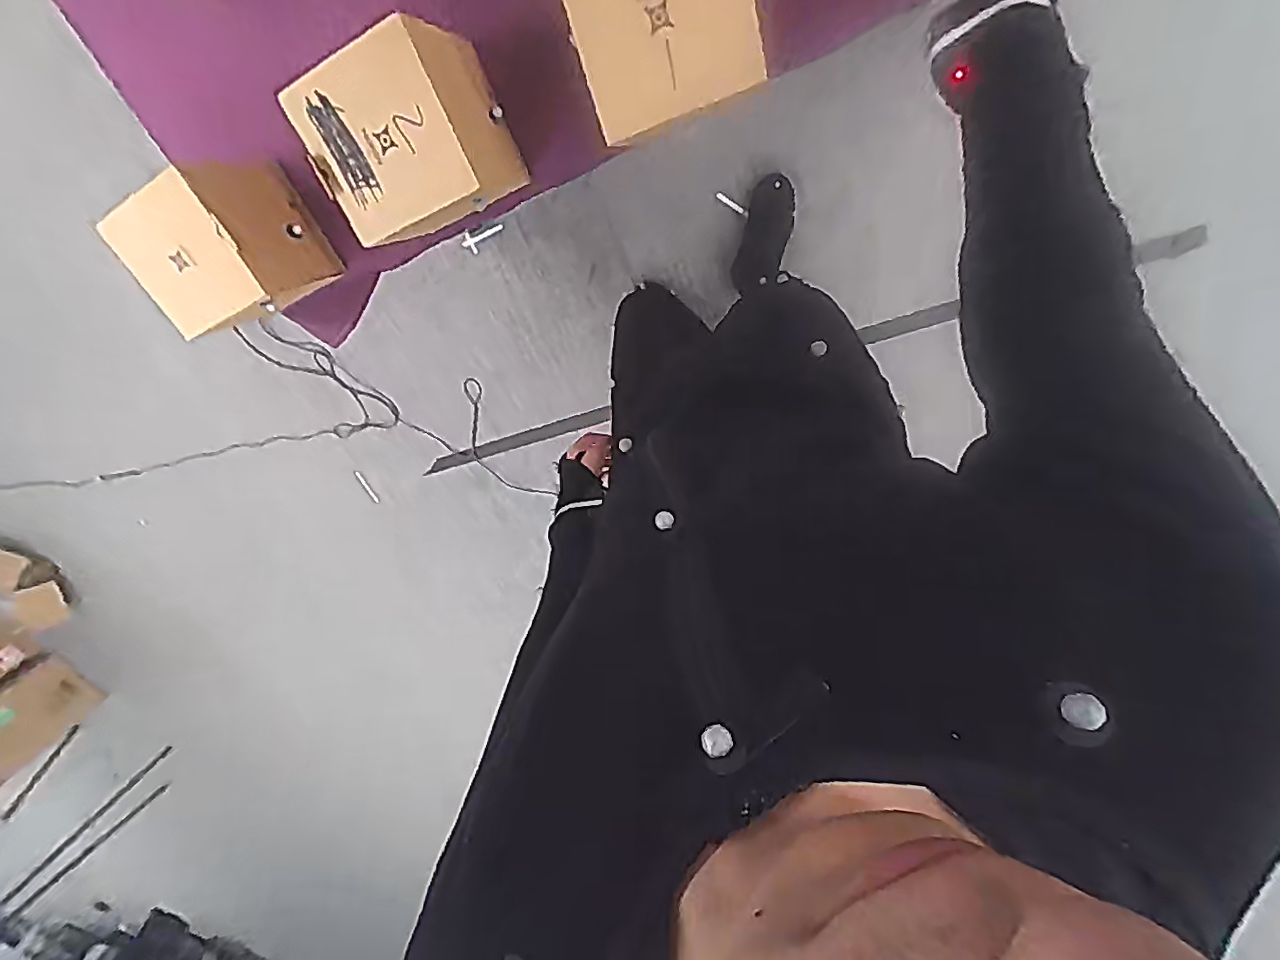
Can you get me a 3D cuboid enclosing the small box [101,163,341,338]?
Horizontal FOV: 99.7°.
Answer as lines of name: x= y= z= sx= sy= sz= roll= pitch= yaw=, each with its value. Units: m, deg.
small box: x=-0.579 y=-0.328 z=0.773 sx=0.179 sy=0.176 sz=0.168 roll=-17 pitch=116 yaw=19
